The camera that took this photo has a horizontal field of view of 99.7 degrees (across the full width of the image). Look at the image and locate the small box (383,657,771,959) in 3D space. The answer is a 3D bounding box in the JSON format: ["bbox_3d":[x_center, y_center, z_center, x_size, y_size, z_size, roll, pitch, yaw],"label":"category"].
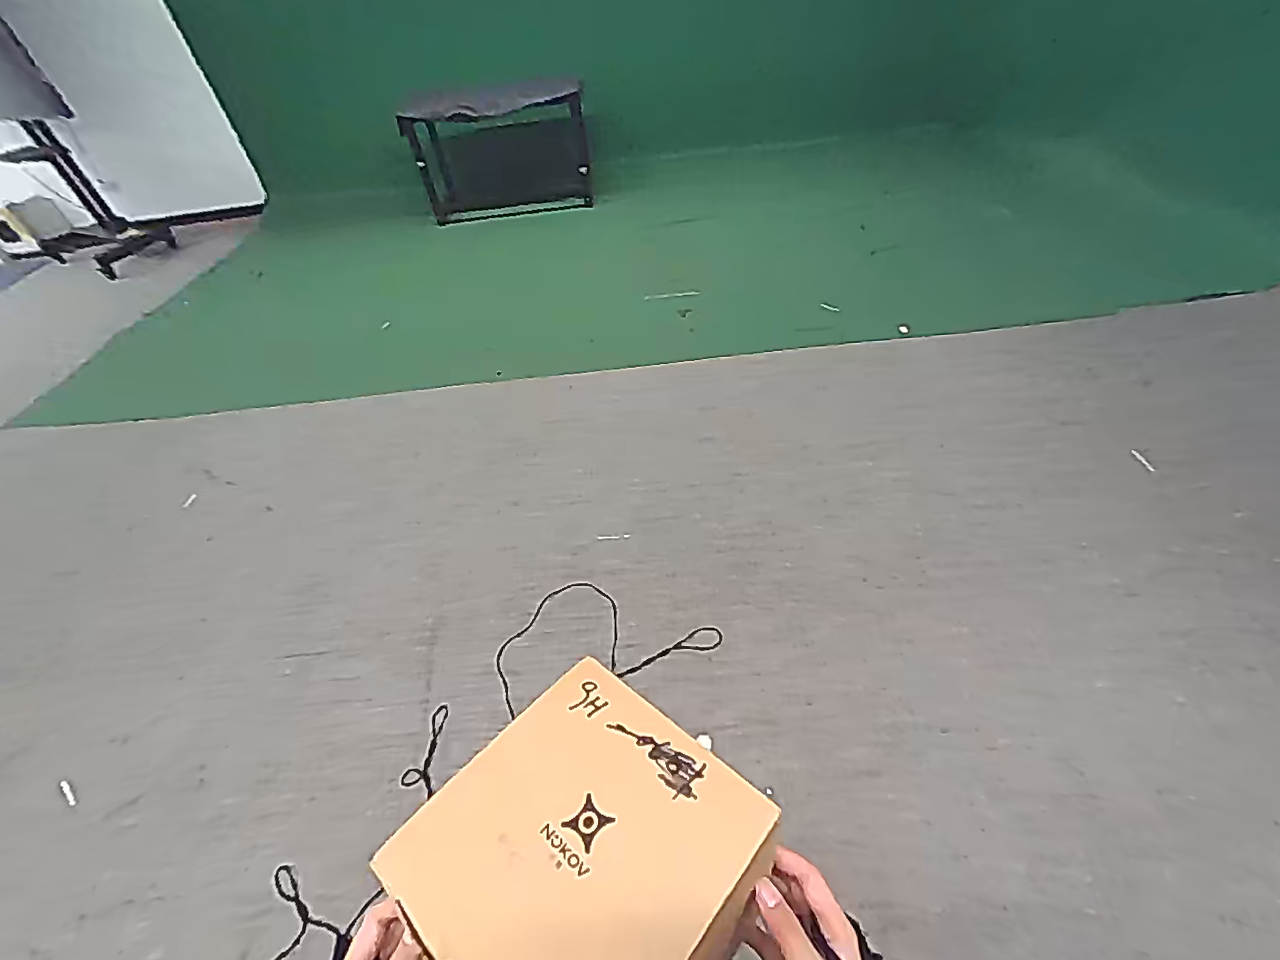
[{"bbox_3d":[-0.028,0.268,0.366,0.168,0.176,0.179,26,49,34],"label":"small box"}]
